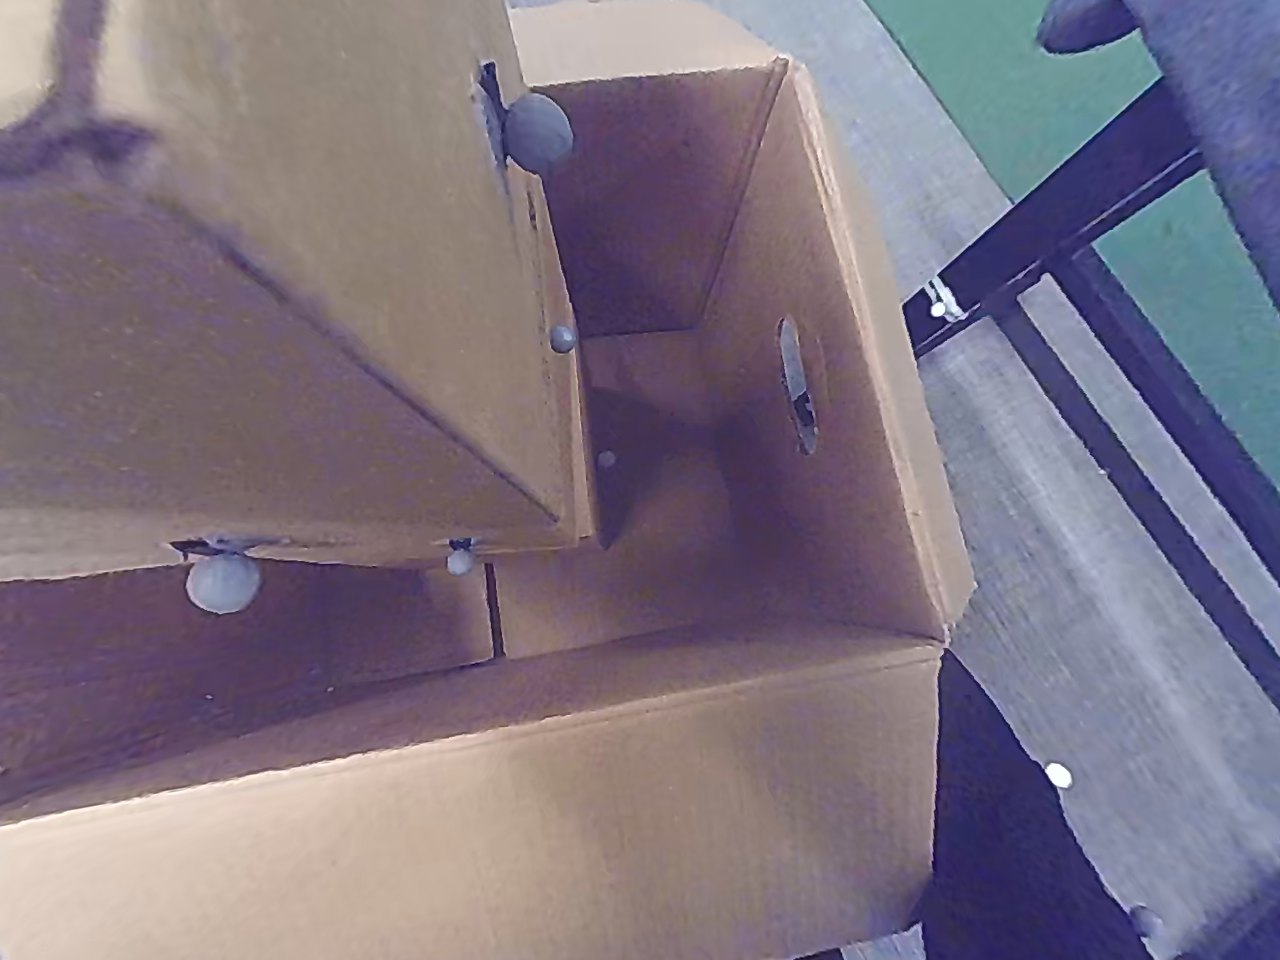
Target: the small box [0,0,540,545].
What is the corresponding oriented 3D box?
[{"bbox_3d":[-0.119,-0.078,0.115,0.179,0.176,0.168,-5,80,-3],"label":"small box"}]
